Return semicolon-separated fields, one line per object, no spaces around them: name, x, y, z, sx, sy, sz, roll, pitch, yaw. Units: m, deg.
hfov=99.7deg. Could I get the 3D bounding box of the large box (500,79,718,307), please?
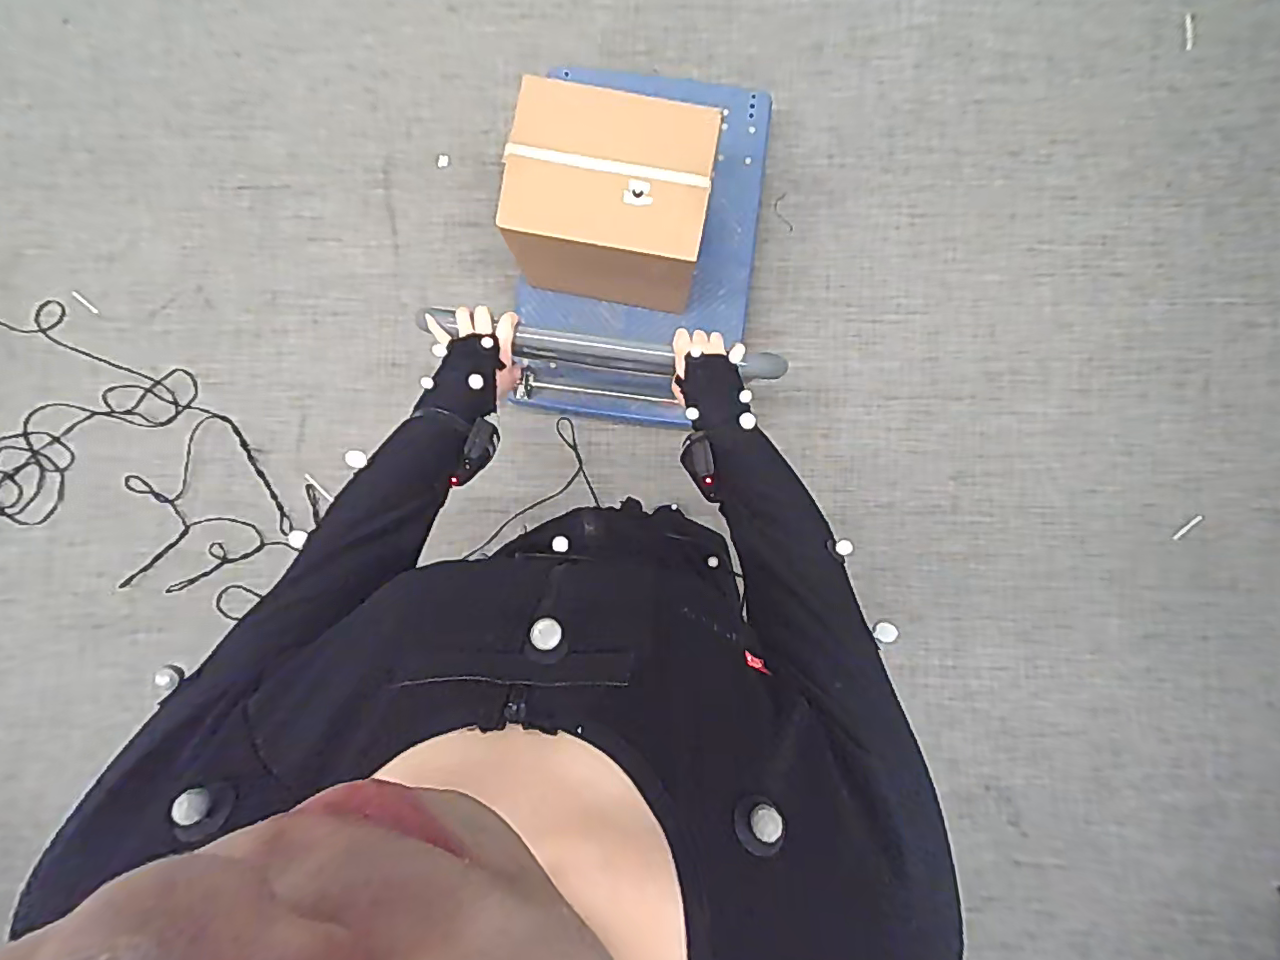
large box;-0.067;-0.621;1.228;0.408;0.320;0.320;10;88;-1
